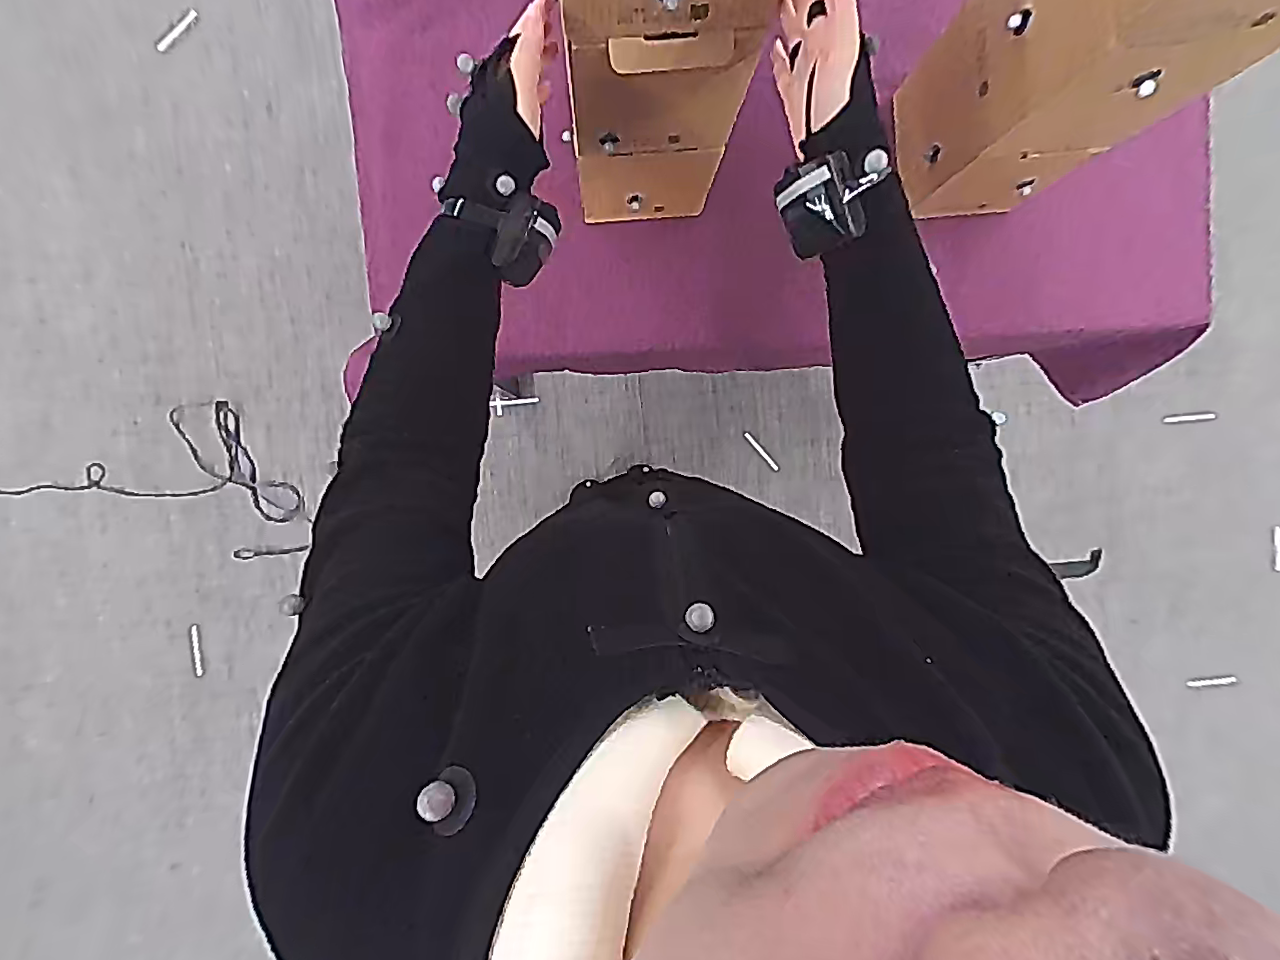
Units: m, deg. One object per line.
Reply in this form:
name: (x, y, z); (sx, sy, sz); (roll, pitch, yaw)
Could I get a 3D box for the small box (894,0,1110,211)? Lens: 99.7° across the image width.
small box: (0.449, -0.464, 0.693); (0.168, 0.176, 0.179); (-5, 93, -3)

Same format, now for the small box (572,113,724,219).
small box: (0.000, -0.450, 0.669); (0.168, 0.176, 0.179); (-6, 94, -3)

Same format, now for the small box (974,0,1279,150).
small box: (0.458, -0.452, 0.530); (0.179, 0.176, 0.168); (-6, 94, -4)

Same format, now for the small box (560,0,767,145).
small box: (0.009, -0.442, 0.506); (0.168, 0.176, 0.179); (-7, 93, -3)
